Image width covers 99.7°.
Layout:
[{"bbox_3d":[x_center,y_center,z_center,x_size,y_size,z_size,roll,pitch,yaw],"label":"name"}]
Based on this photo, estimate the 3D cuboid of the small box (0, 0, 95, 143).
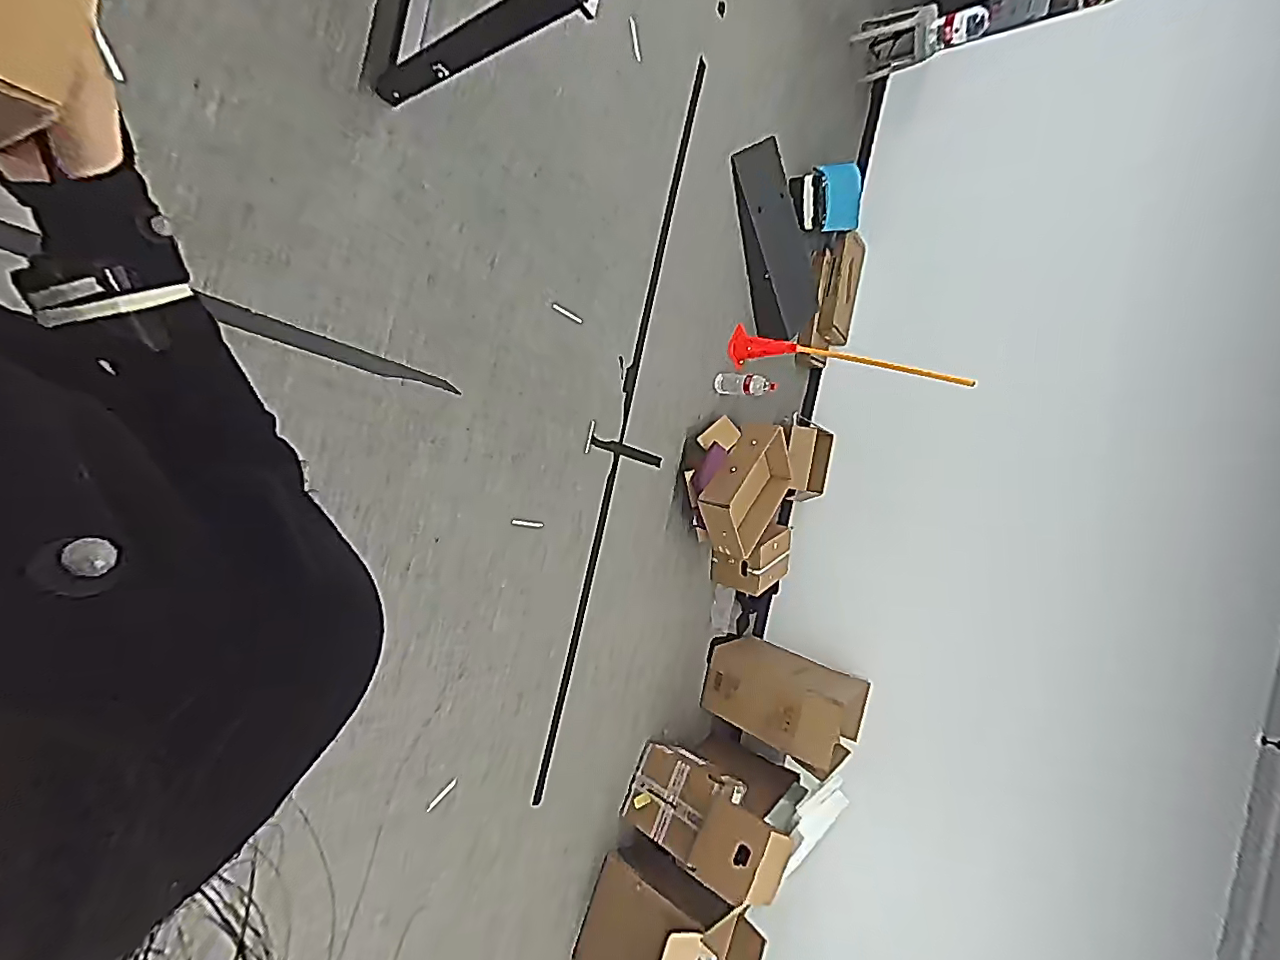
[{"bbox_3d":[-0.326,-0.259,0.200,0.168,0.176,0.179,12,92,-58],"label":"small box"}]
